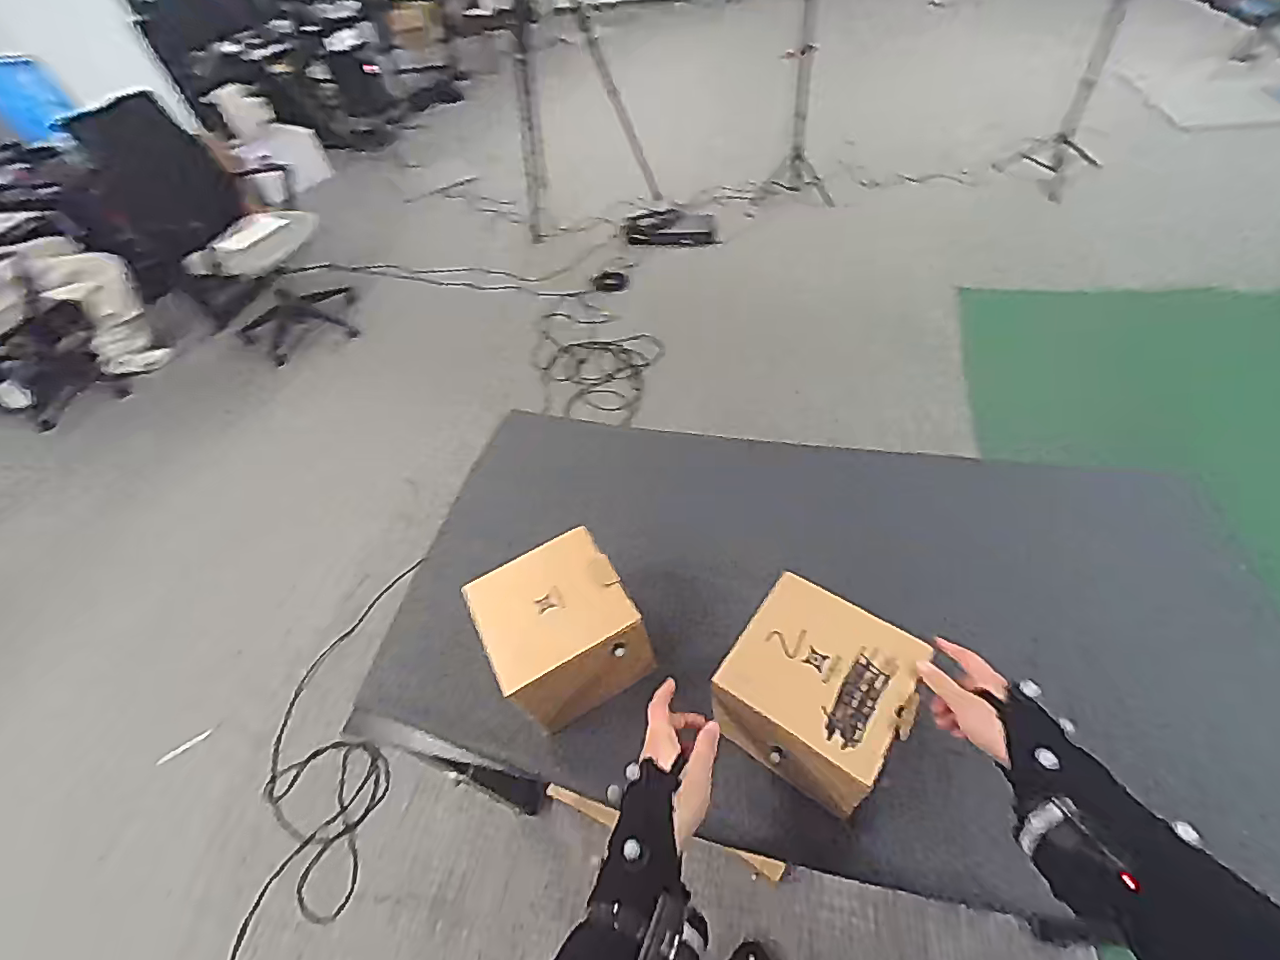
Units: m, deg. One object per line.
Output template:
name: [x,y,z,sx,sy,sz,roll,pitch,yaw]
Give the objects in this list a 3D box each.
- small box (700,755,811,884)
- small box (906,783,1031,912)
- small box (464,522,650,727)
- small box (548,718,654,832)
small box: [0.249,0.734,1.165,0.179,0.176,0.168,22,56,27]
small box: [0.648,0.743,1.089,0.179,0.176,0.168,11,53,17]
small box: [-0.103,0.195,0.720,0.179,0.176,0.168,-27,51,-13]
small box: [-0.083,0.690,1.259,0.179,0.176,0.168,15,54,22]
